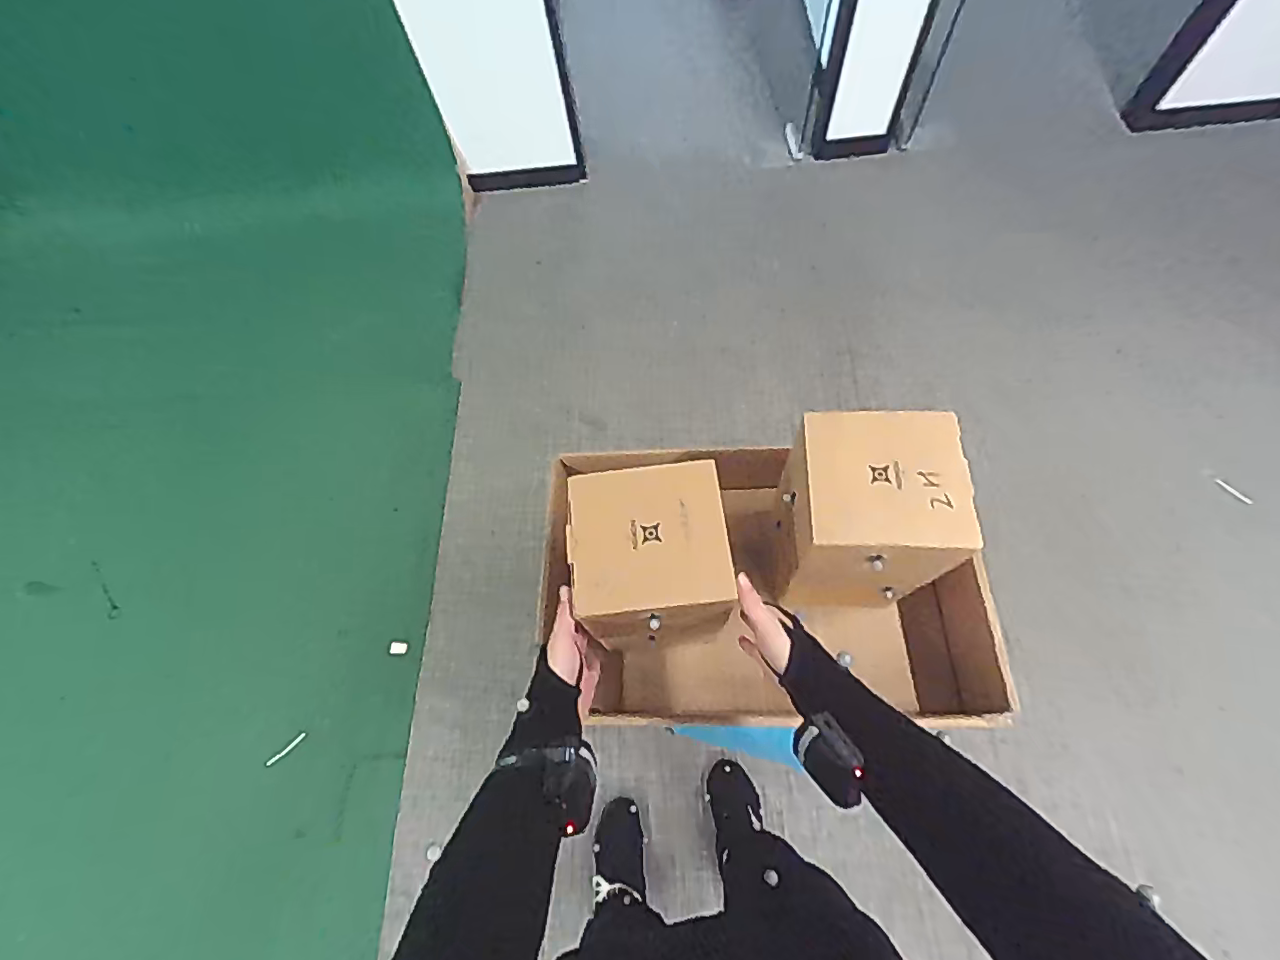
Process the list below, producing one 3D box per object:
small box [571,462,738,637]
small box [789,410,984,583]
[{"bbox_3d":[0.017,0.094,0.670,0.179,0.176,0.168,-6,66,1],"label":"small box"},{"bbox_3d":[0.283,0.027,0.671,0.179,0.176,0.168,2,67,6],"label":"small box"}]
